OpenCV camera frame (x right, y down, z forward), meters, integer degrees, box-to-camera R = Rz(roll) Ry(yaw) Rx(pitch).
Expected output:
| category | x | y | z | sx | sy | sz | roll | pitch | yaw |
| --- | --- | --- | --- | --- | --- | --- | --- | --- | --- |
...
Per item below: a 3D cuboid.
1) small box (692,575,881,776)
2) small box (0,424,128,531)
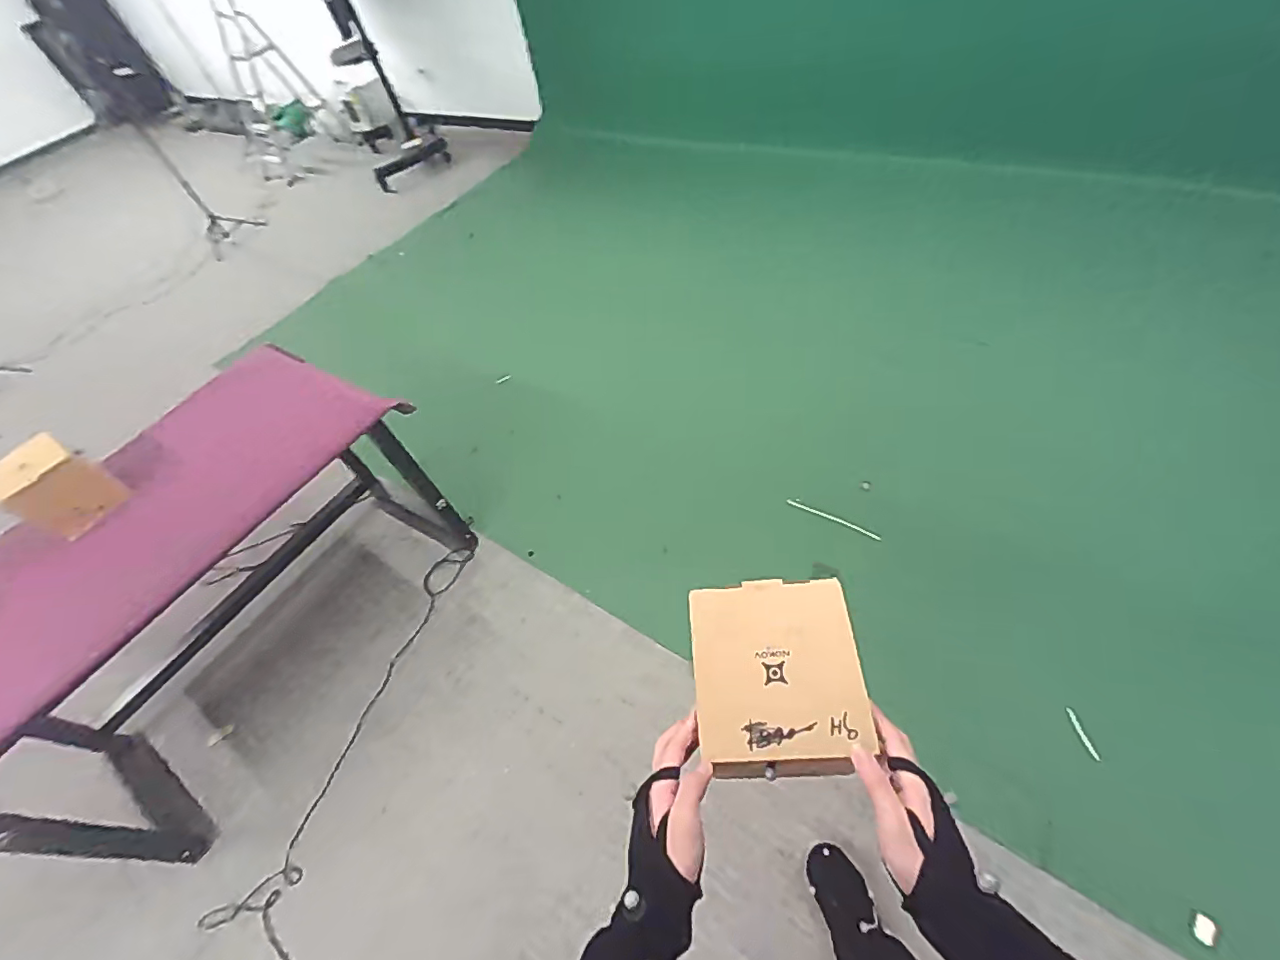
| category | x | y | z | sx | sy | sz | roll | pitch | yaw |
| --- | --- | --- | --- | --- | --- | --- | --- | --- | --- |
| small box | 0.149 | 0.224 | 0.607 | 0.168 | 0.176 | 0.179 | -6 | 57 | 8 |
| small box | -1.419 | -0.003 | 1.310 | 0.179 | 0.176 | 0.168 | 23 | 61 | 25 |
